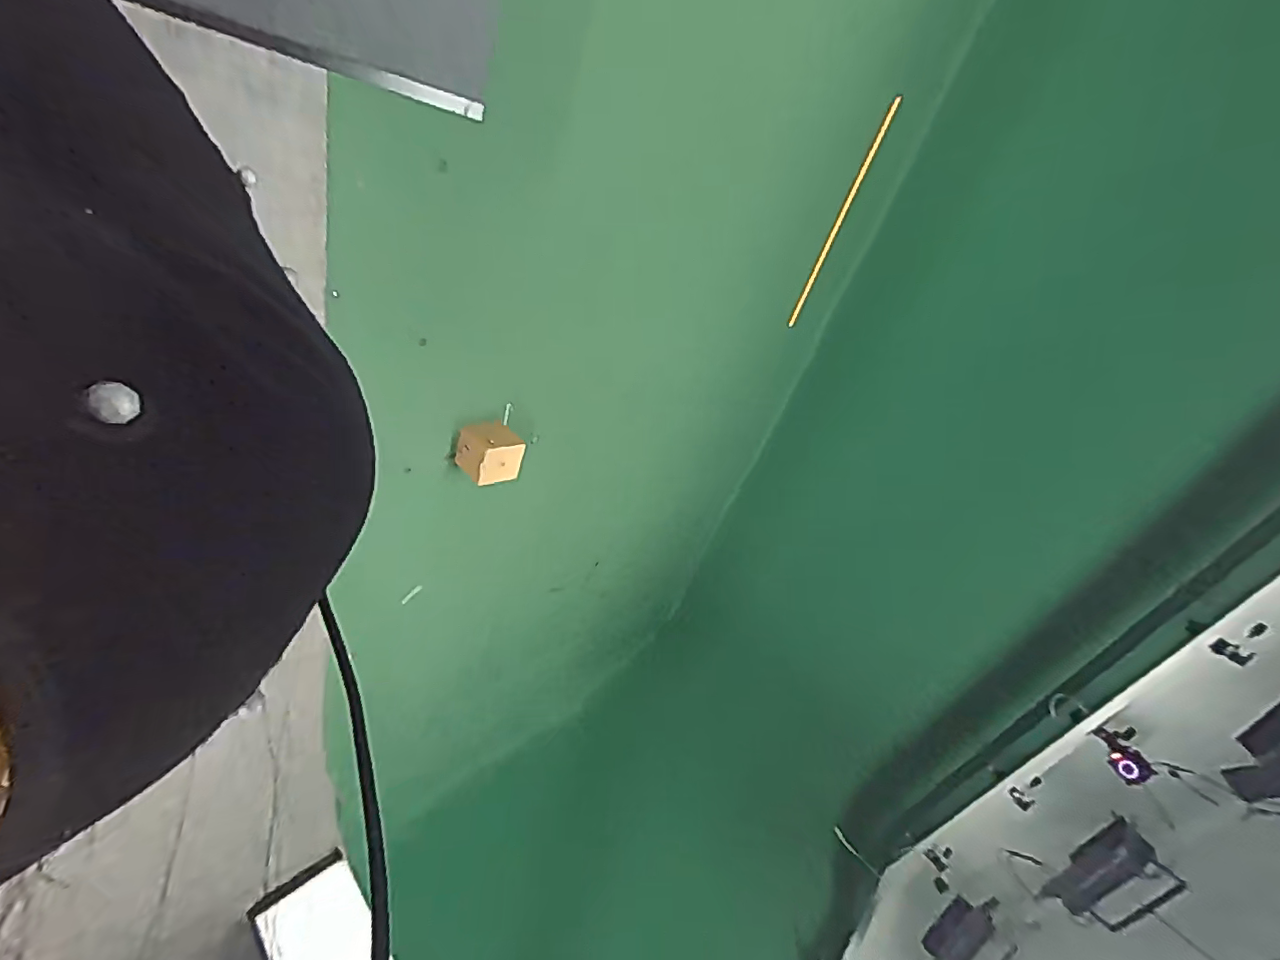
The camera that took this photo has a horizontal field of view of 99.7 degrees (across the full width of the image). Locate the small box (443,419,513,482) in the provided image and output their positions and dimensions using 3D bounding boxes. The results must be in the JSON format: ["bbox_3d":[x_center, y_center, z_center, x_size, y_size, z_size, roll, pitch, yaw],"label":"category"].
[{"bbox_3d":[-0.617,-0.119,2.053,0.179,0.176,0.168,-15,137,-48],"label":"small box"}]
